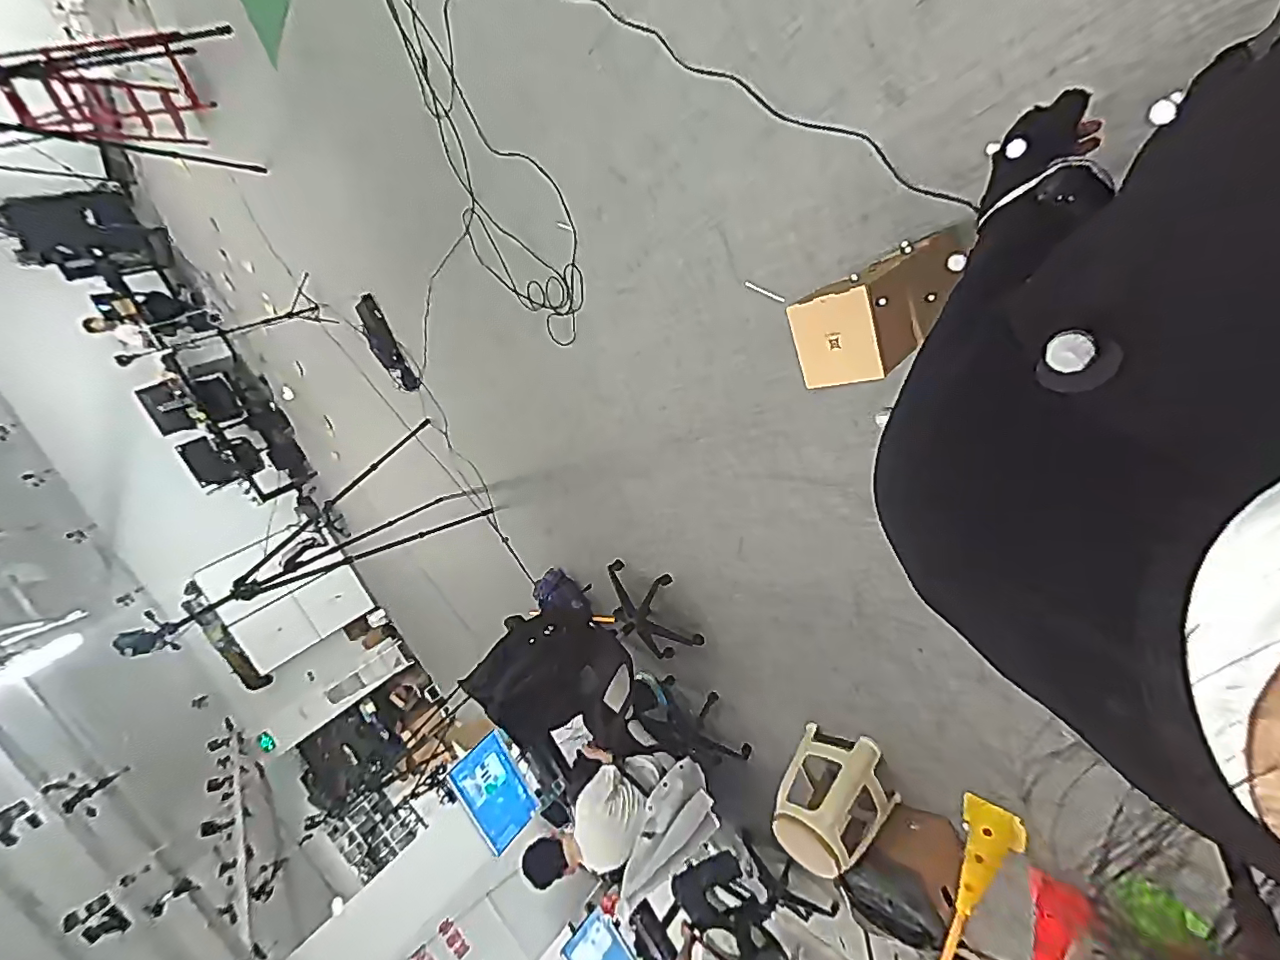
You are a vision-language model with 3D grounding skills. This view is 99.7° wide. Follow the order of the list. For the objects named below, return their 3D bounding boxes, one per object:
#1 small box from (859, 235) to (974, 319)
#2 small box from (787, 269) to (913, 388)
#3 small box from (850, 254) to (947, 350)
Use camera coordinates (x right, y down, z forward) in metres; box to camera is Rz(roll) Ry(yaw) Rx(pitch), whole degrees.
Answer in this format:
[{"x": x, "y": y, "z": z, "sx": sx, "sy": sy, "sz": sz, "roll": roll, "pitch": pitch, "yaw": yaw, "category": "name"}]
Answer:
[{"x": 0.655, "y": -0.458, "z": 1.279, "sx": 0.168, "sy": 0.176, "sz": 0.179, "roll": -10, "pitch": 108, "yaw": 54, "category": "small box"}, {"x": 0.431, "y": -0.304, "z": 1.095, "sx": 0.168, "sy": 0.176, "sz": 0.179, "roll": 0, "pitch": 117, "yaw": 48, "category": "small box"}, {"x": 0.544, "y": -0.377, "z": 1.185, "sx": 0.168, "sy": 0.176, "sz": 0.179, "roll": -7, "pitch": 113, "yaw": 50, "category": "small box"}]
